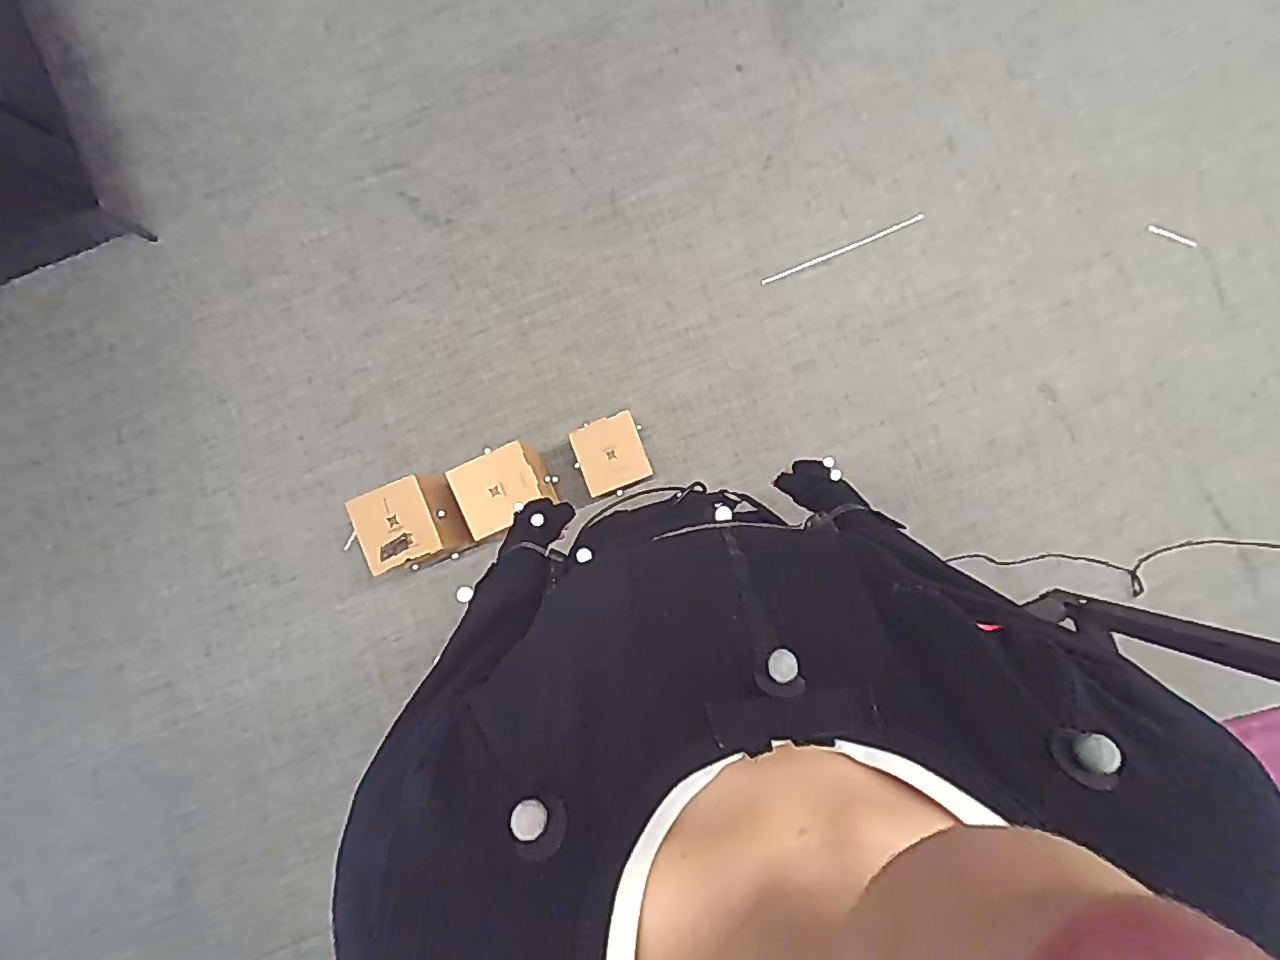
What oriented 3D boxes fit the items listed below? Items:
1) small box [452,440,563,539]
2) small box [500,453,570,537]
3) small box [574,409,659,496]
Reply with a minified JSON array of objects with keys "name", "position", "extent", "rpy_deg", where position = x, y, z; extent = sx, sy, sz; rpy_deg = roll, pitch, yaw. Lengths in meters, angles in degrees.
[{"name":"small box","position":[-0.295,0.024,1.240],"extent":[0.179,0.176,0.168],"rpy_deg":[-25,89,-1]},{"name":"small box","position":[-0.296,0.035,1.402],"extent":[0.168,0.176,0.179],"rpy_deg":[-24,88,1]},{"name":"small box","position":[-0.059,-0.065,1.404],"extent":[0.168,0.176,0.179],"rpy_deg":[-21,89,0]}]
